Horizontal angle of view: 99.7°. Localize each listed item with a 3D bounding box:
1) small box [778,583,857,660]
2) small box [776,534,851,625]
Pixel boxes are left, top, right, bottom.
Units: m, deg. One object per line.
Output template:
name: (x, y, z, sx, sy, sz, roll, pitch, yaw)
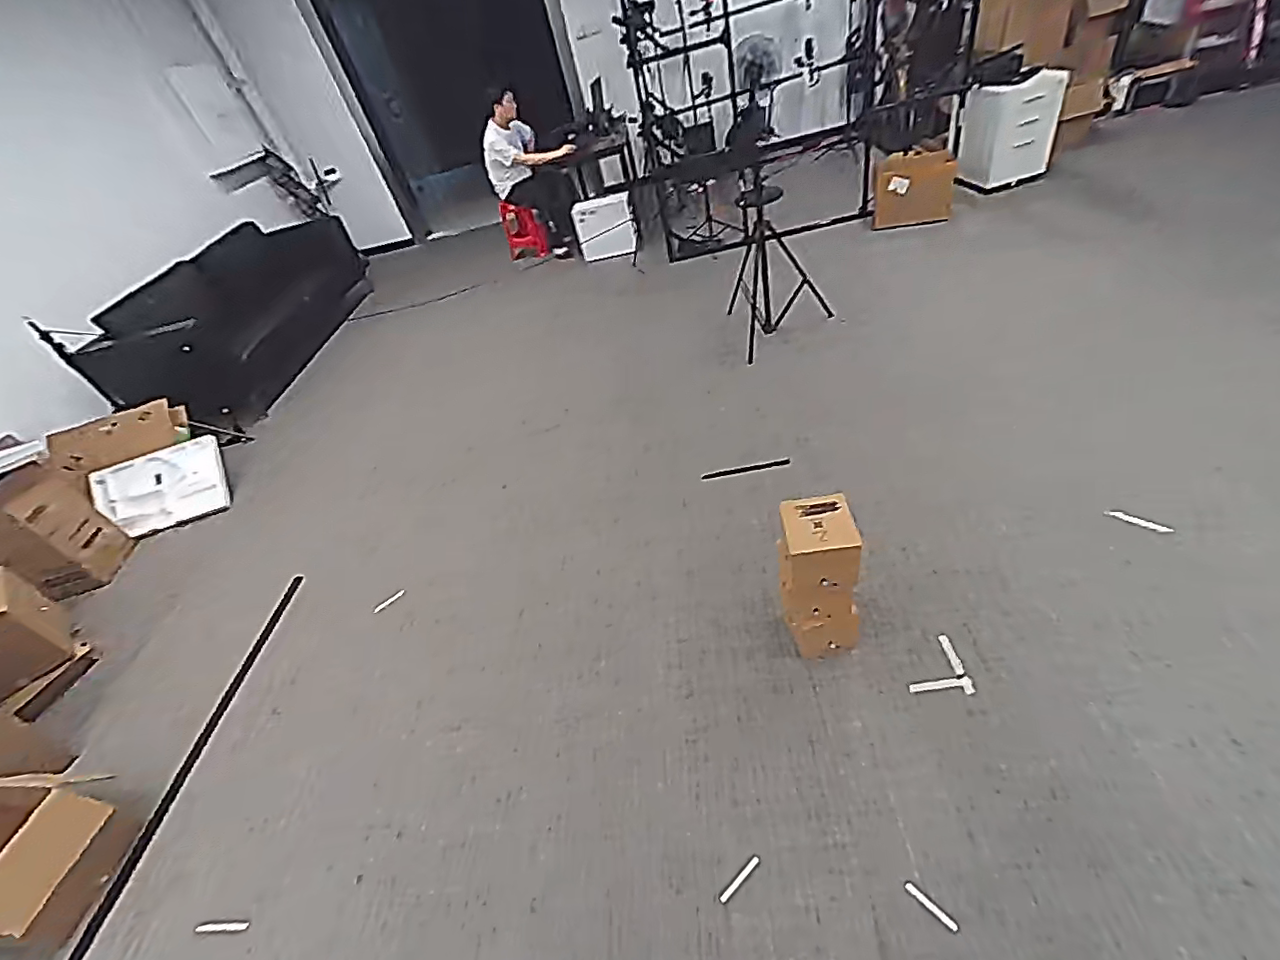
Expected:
small box: (0.519, 0.399, 1.597, 0.168, 0.176, 0.179, -18, 41, 0)
small box: (0.476, 0.277, 1.497, 0.168, 0.176, 0.179, -9, 41, 9)
